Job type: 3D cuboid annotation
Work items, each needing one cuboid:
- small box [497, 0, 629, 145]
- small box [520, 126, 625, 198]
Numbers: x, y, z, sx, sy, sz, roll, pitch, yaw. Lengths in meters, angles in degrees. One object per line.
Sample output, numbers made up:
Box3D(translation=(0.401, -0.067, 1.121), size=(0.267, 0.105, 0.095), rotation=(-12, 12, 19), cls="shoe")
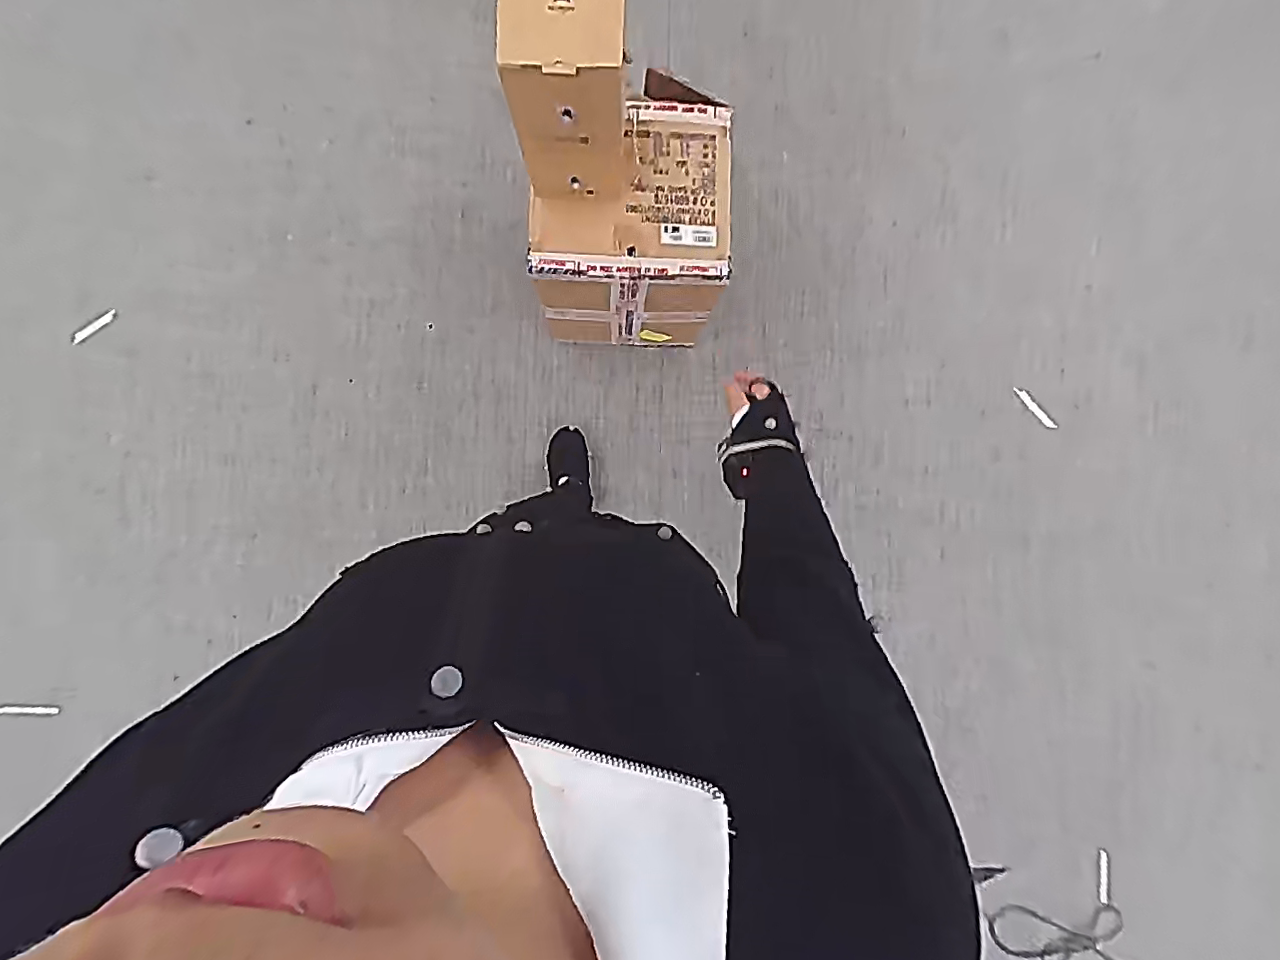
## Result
Box3D(translation=(-0.102, -0.617, 0.780), size=(0.168, 0.176, 0.179), rotation=(2, 91, -1), cls="small box")
Box3D(translation=(-0.111, -0.625, 0.945), size=(0.168, 0.176, 0.179), rotation=(0, 90, -1), cls="small box")
